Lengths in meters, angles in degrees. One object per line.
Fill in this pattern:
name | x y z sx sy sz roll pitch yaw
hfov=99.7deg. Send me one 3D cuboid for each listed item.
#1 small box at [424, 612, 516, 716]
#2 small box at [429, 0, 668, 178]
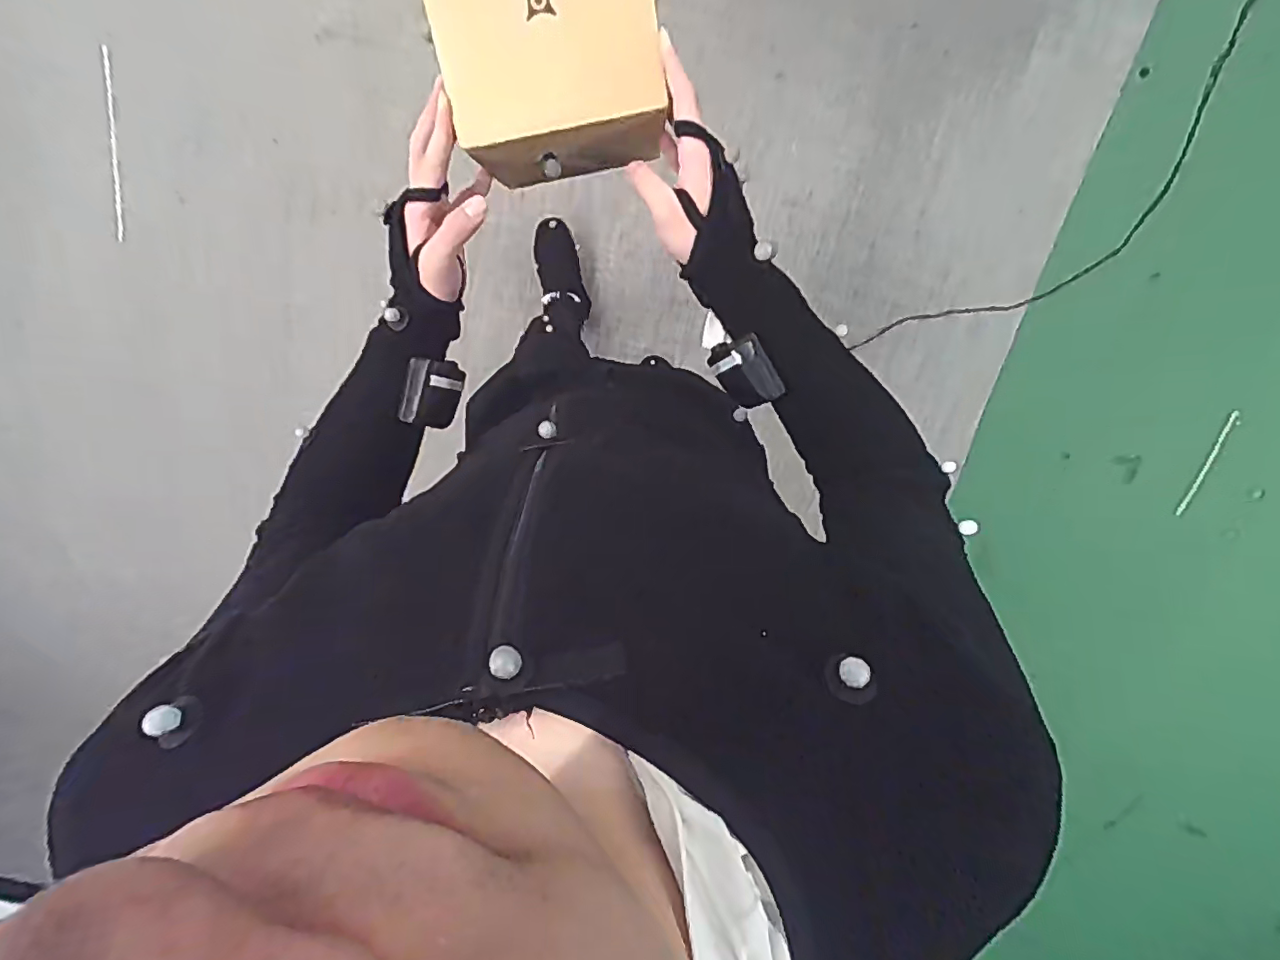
small box | -0.437 0.474 1.418 0.168 0.176 0.179 19 106 -2
small box | -0.070 -0.376 0.462 0.168 0.176 0.179 -10 107 3
